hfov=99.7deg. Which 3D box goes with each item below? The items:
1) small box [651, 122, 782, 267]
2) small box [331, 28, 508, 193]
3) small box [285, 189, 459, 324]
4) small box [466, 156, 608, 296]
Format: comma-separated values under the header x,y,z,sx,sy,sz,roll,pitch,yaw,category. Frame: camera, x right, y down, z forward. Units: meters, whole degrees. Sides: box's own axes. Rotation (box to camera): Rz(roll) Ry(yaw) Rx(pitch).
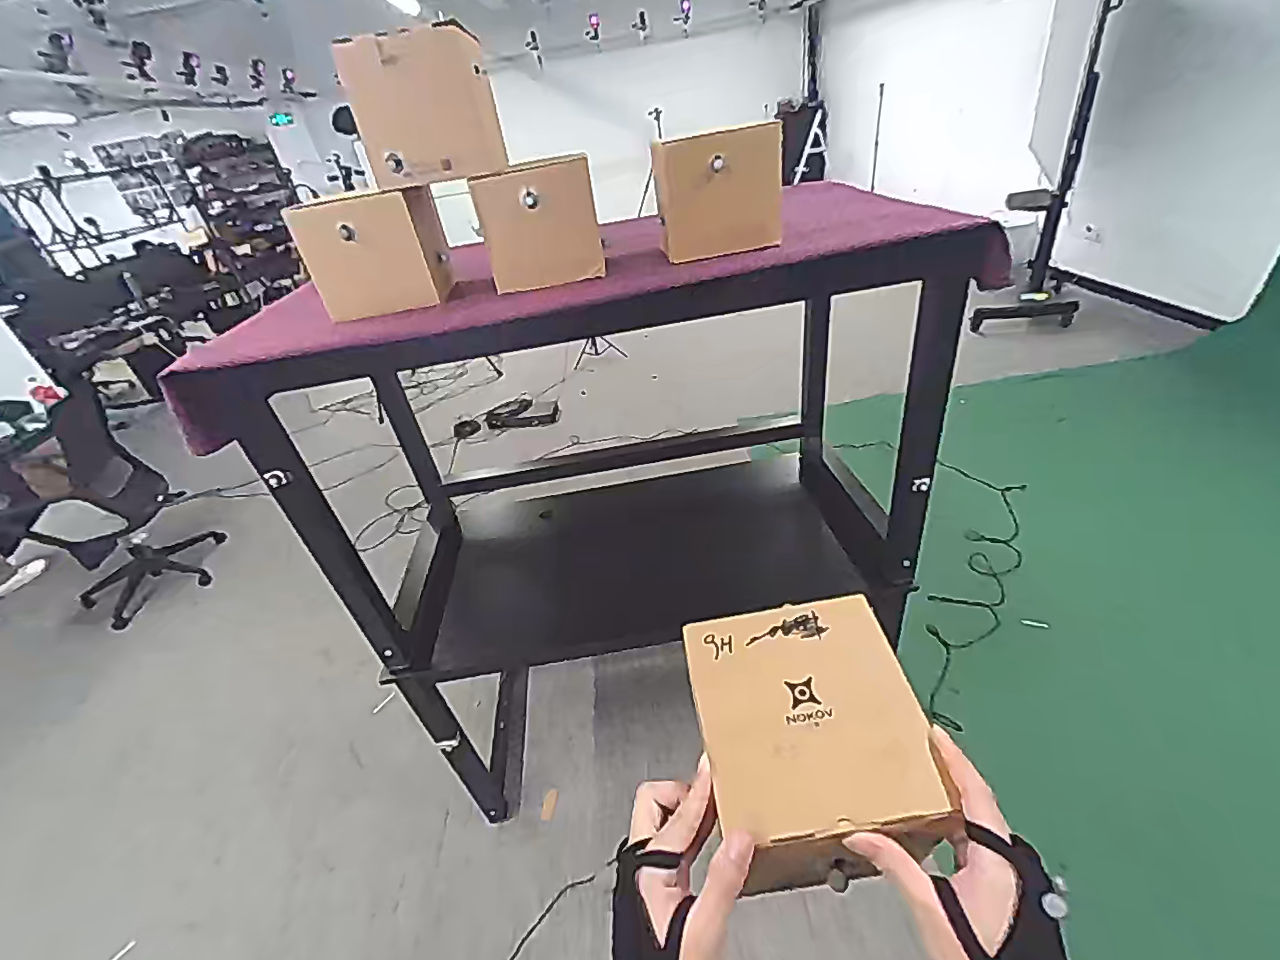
x,y,z,sx,sy,sz,roll,pitch,yaw,category
0.121,-0.458,0.868,0.179,0.176,0.168,-11,33,2,small box
-0.302,-0.527,0.790,0.168,0.176,0.179,-8,33,2,small box
-0.418,-0.366,0.879,0.179,0.176,0.168,-11,35,-1,small box
-0.153,-0.407,0.868,0.179,0.176,0.168,-10,34,1,small box
